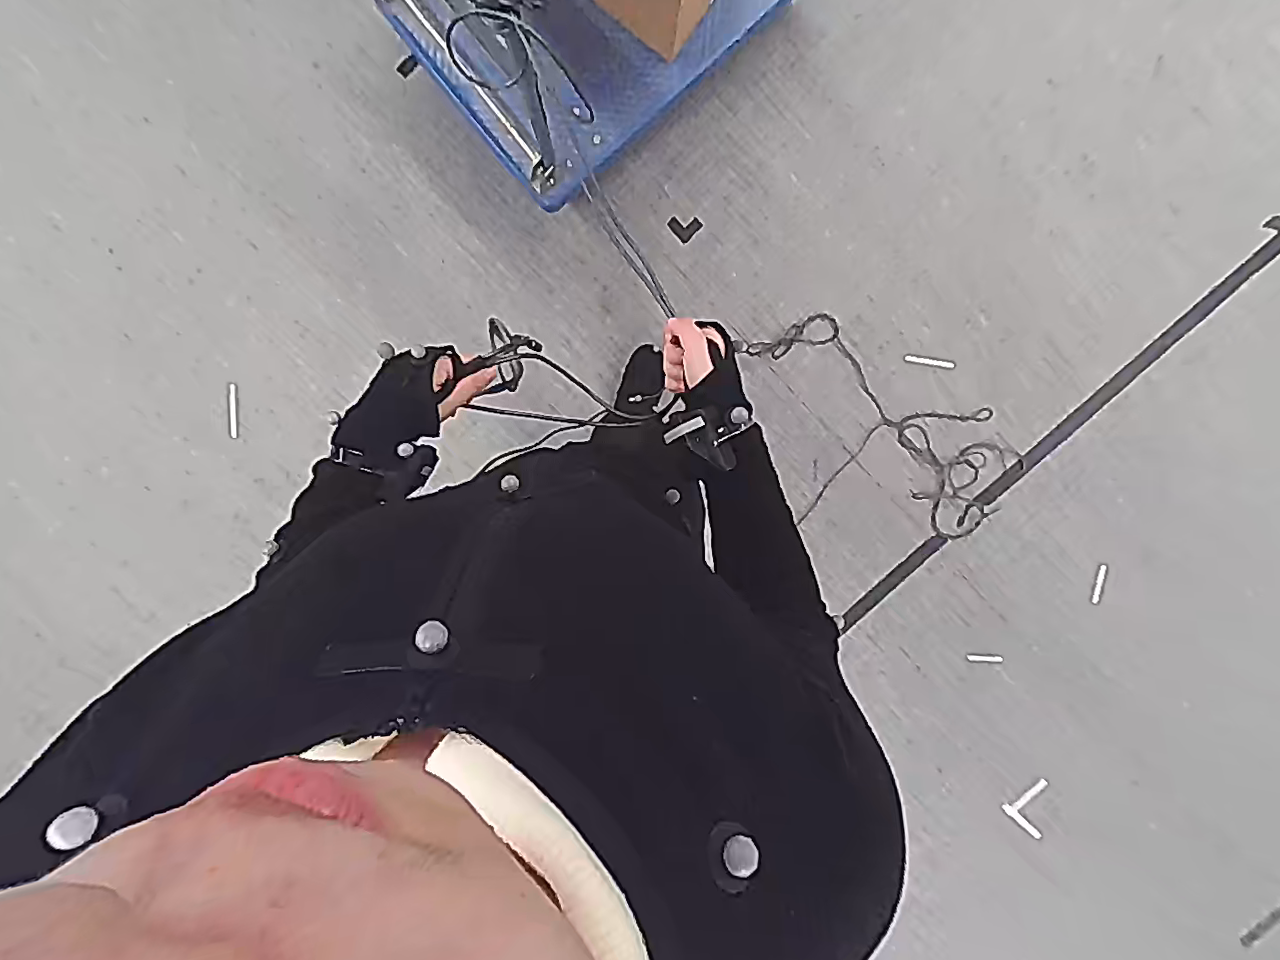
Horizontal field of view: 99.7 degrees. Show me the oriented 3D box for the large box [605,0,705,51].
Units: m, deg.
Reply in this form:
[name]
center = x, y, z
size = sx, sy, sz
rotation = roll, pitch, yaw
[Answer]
[large box]
center = -0.003, -1.115, 0.966
size = 0.408, 0.320, 0.320
rotation = 34, 98, -9
